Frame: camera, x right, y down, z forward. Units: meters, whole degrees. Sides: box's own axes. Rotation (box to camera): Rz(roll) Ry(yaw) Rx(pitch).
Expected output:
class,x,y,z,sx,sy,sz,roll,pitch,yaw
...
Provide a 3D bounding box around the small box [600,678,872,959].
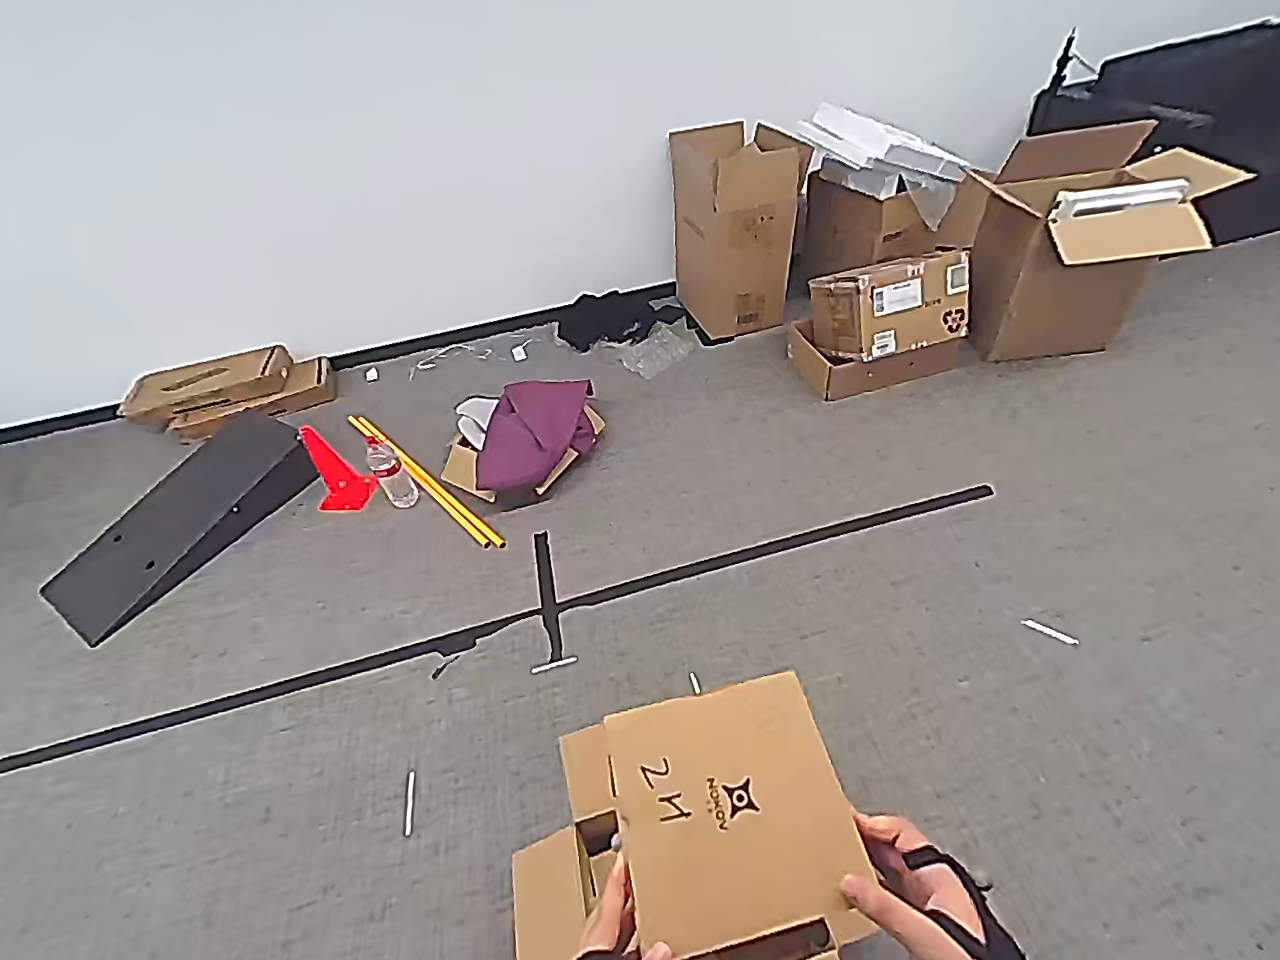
class,x,y,z,sx,sy,sz,roll,pitch,yaw
small box,0.069,0.300,0.485,0.179,0.176,0.168,-12,53,-5
